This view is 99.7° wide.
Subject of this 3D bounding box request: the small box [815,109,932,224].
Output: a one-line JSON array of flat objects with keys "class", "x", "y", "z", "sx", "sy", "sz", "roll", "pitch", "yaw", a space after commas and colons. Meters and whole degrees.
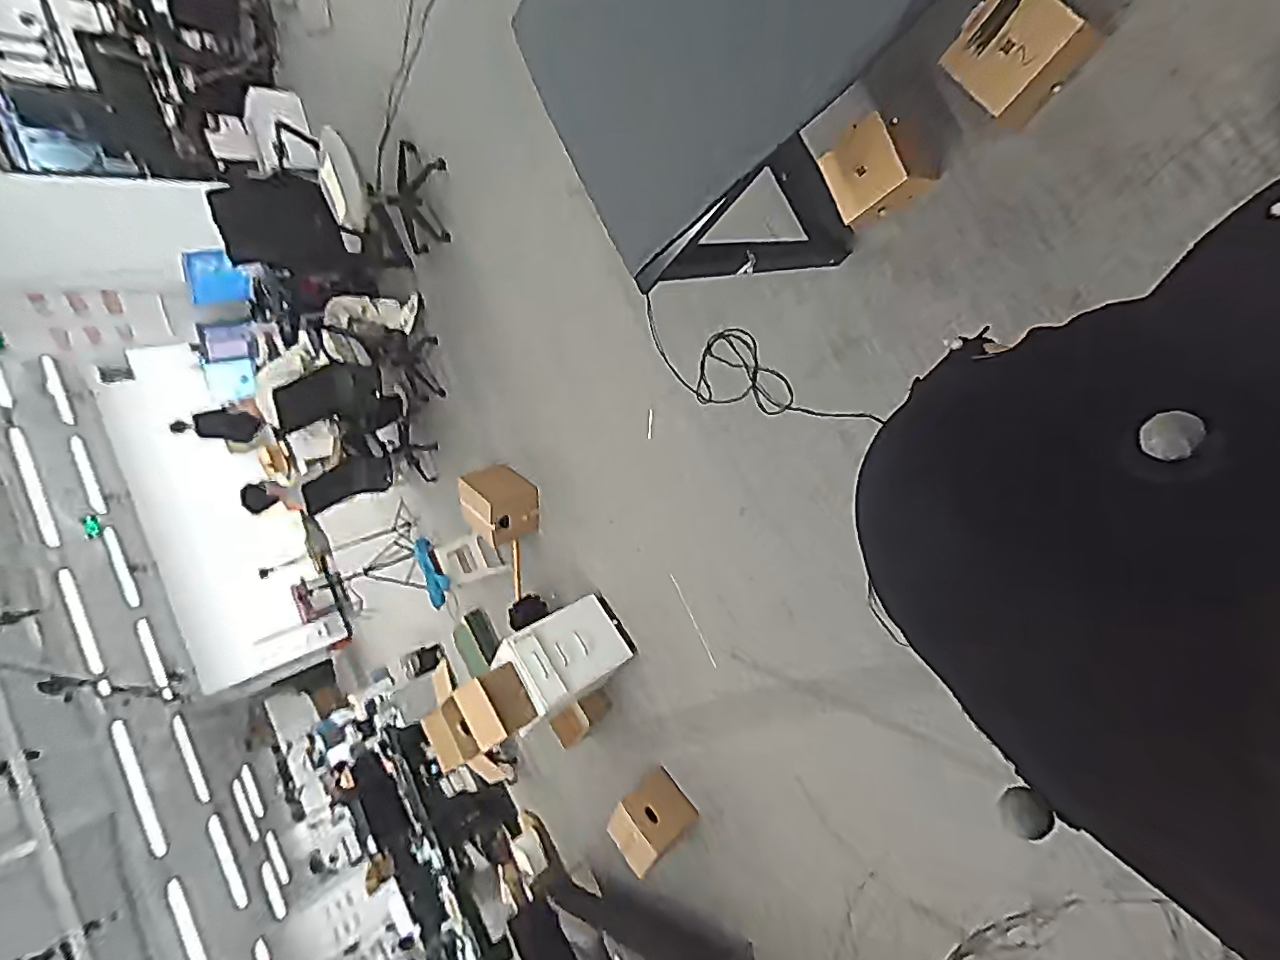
[{"class": "small box", "x": 0.561, "y": -0.741, "z": 1.291, "sx": 0.168, "sy": 0.176, "sz": 0.179, "roll": -25, "pitch": 86, "yaw": 53}]
